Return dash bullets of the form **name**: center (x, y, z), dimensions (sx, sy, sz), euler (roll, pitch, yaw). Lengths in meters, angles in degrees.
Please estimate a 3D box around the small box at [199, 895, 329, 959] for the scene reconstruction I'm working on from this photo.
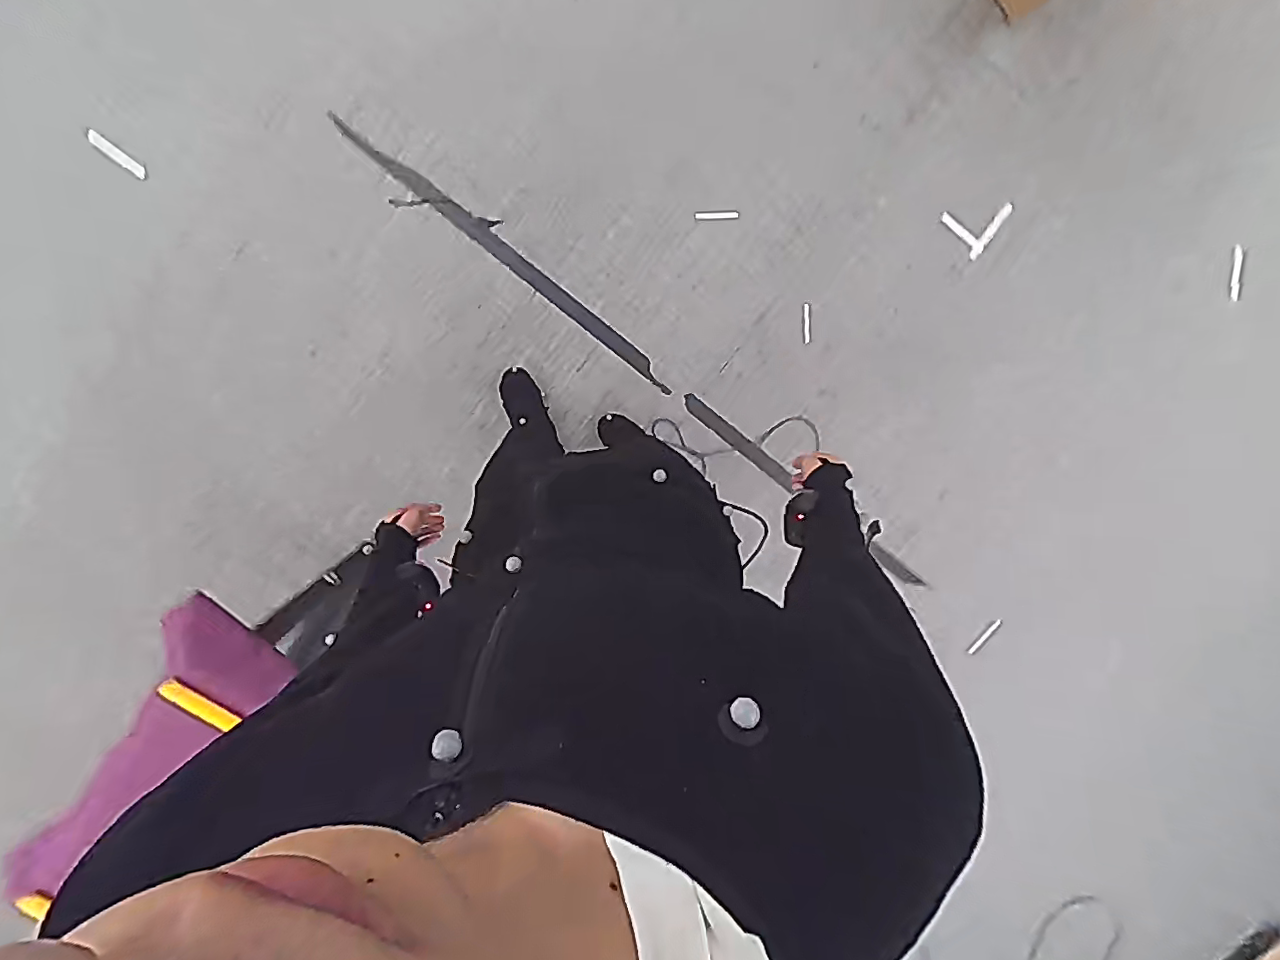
- **small box**: center (-0.696, 0.890, 0.952), dimensions (0.179, 0.176, 0.168), euler (37, 96, -10)
